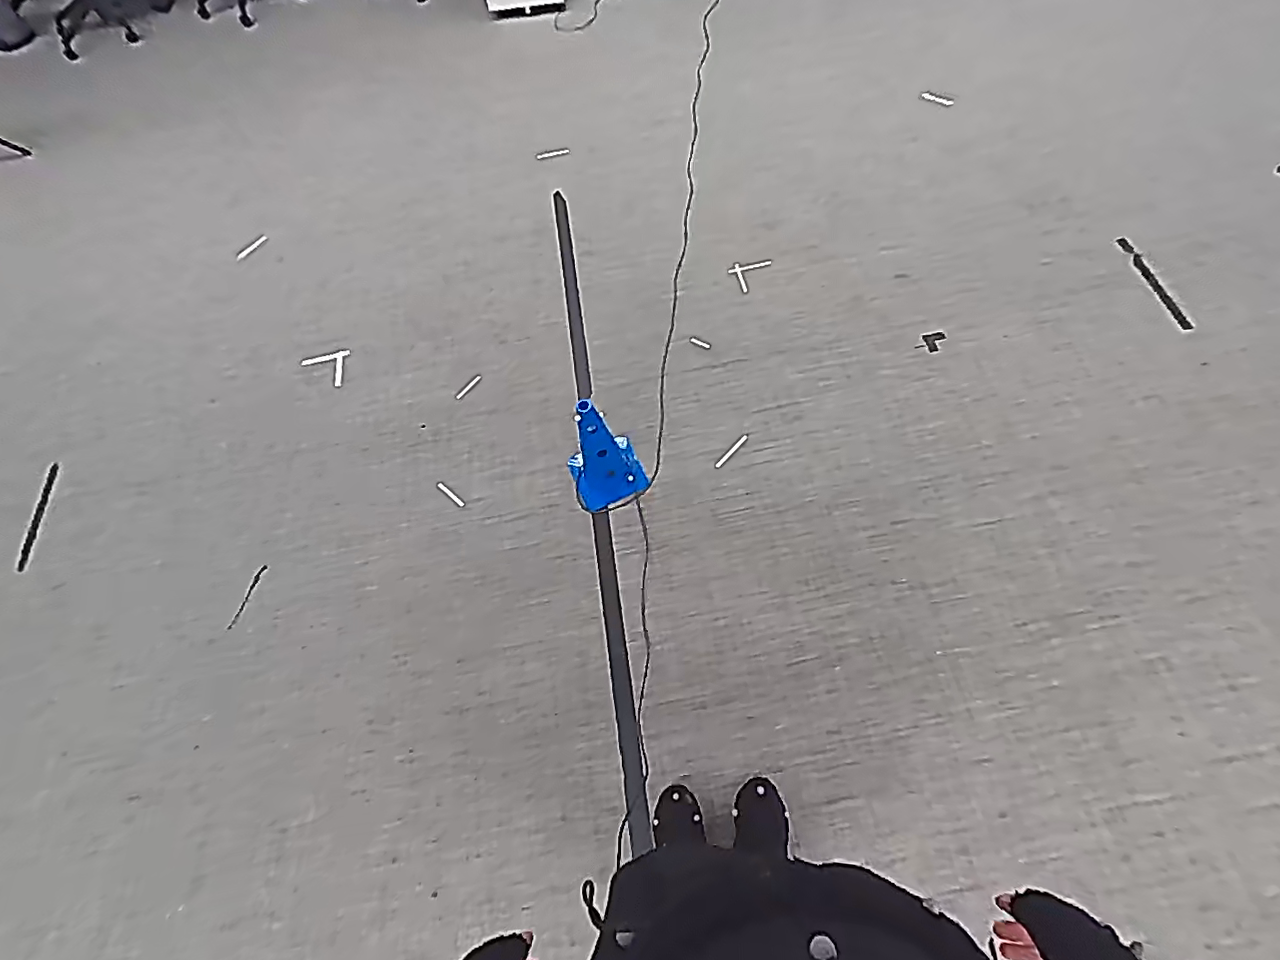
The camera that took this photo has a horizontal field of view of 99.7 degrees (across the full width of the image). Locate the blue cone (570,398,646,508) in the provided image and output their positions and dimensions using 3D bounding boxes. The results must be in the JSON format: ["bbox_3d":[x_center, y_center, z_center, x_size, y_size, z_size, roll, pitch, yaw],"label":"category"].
[{"bbox_3d":[-0.114,-0.102,1.452,0.193,0.380,0.192,-25,63,-7],"label":"blue cone"}]
